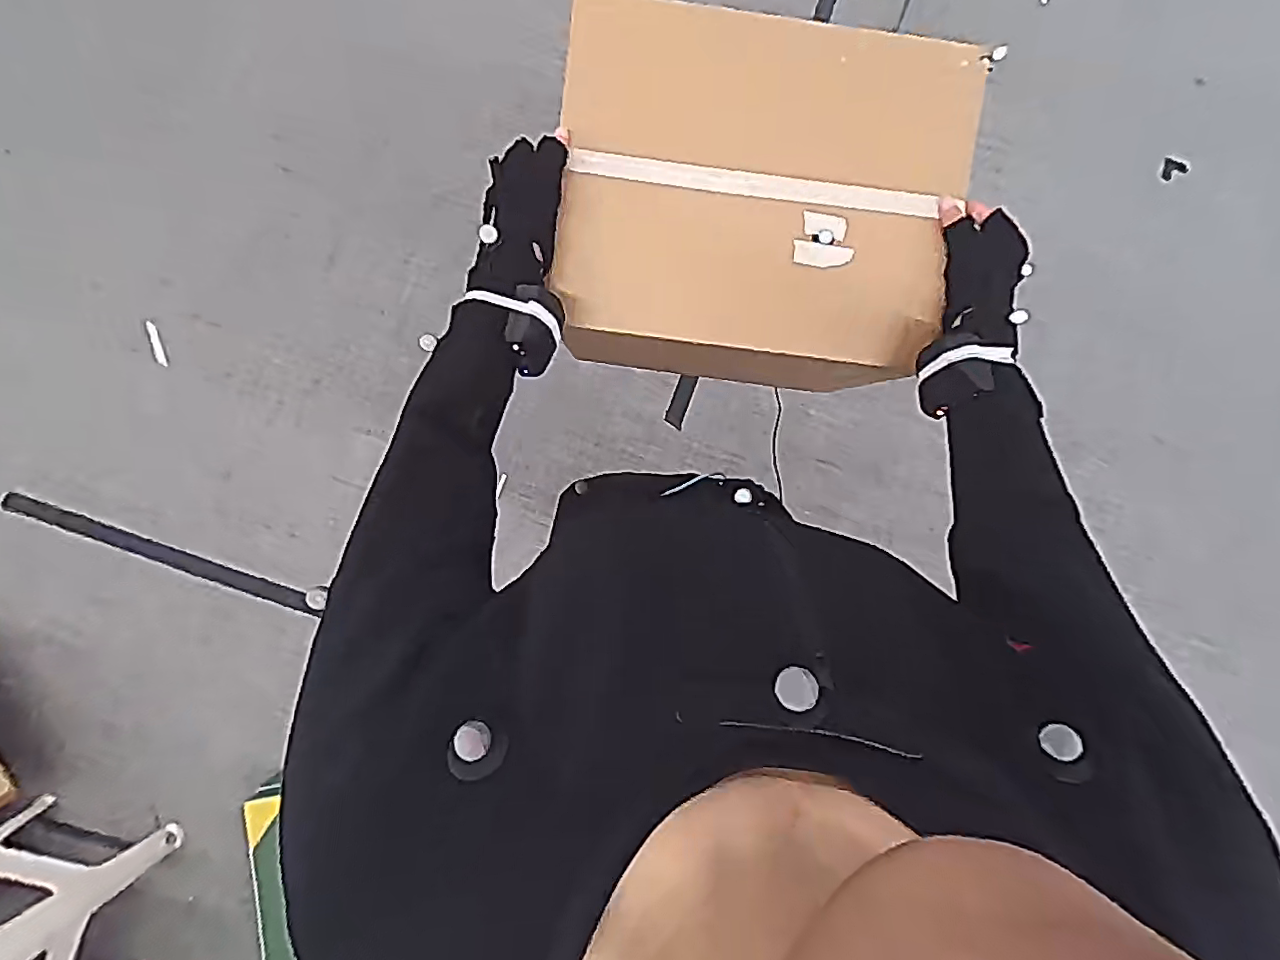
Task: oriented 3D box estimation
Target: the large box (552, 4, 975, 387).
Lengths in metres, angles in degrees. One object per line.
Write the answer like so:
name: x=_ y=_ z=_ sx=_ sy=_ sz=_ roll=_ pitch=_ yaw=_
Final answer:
large box: x=0.117 y=-0.306 z=0.693 sx=0.408 sy=0.320 sz=0.320 roll=7 pitch=96 yaw=-2
